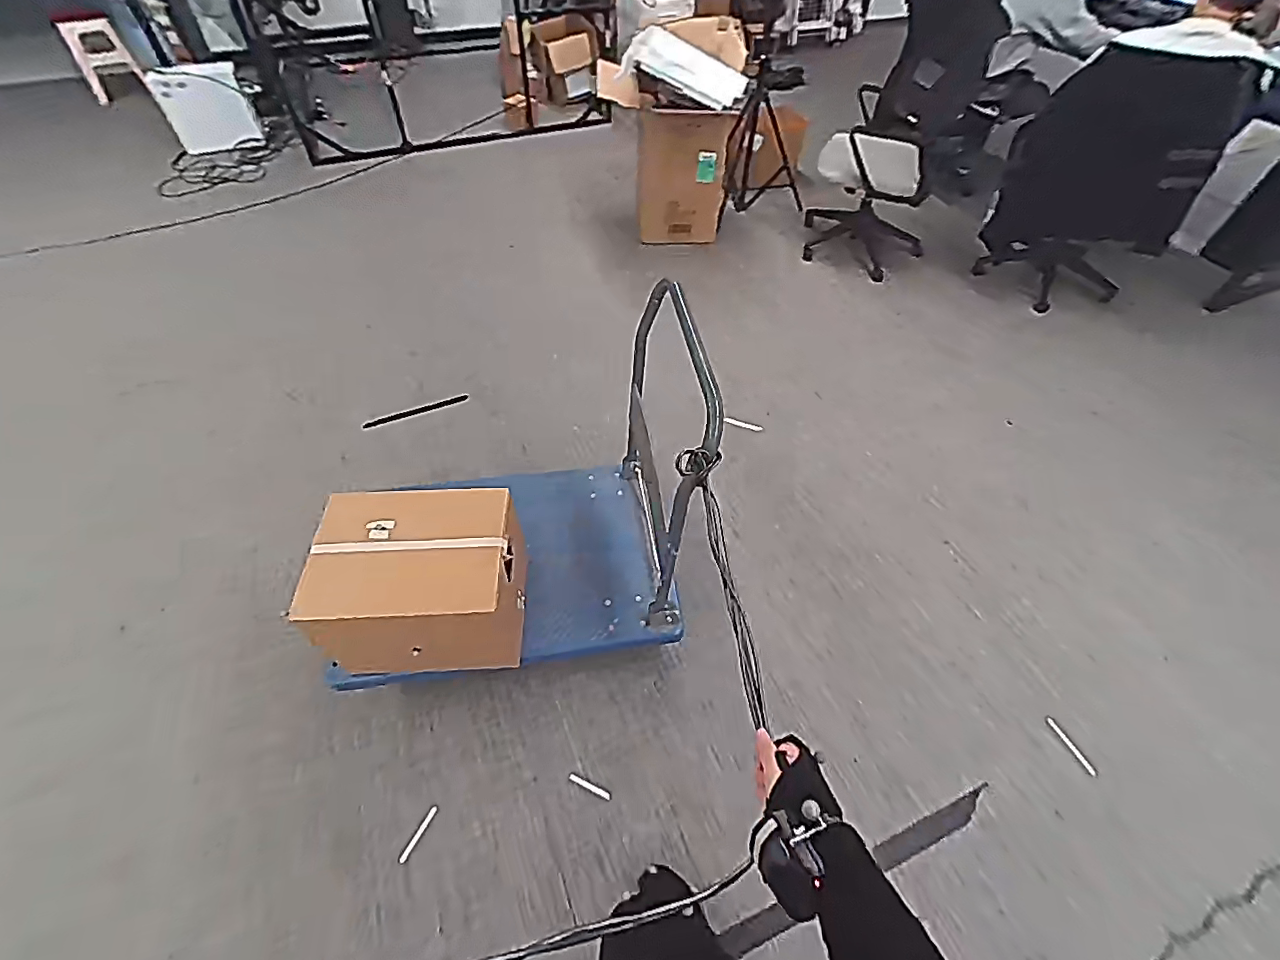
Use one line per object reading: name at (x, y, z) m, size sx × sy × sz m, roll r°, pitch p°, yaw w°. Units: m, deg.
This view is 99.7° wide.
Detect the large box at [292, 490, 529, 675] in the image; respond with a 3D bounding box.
large box at (-0.485, 0.244, 1.258) m, size 0.408 × 0.320 × 0.320 m, roll -2°, pitch 51°, yaw -2°
